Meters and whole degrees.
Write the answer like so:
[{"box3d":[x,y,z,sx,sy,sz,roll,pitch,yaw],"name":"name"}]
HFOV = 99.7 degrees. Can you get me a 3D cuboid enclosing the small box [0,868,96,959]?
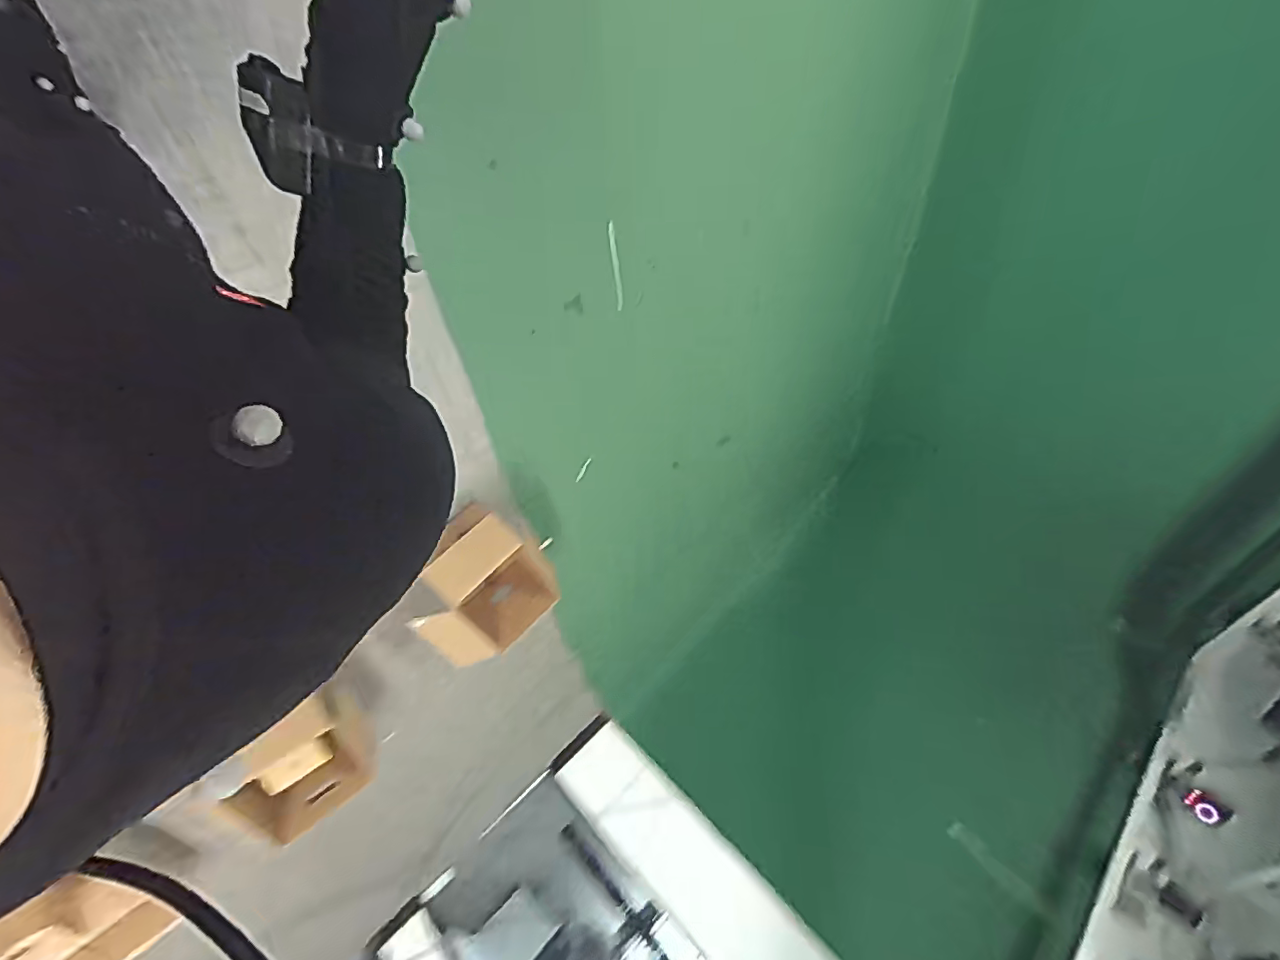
[{"box3d":[-1.602,1.174,1.426,0.168,0.176,0.179,-31,141,-31],"name":"small box"}]
